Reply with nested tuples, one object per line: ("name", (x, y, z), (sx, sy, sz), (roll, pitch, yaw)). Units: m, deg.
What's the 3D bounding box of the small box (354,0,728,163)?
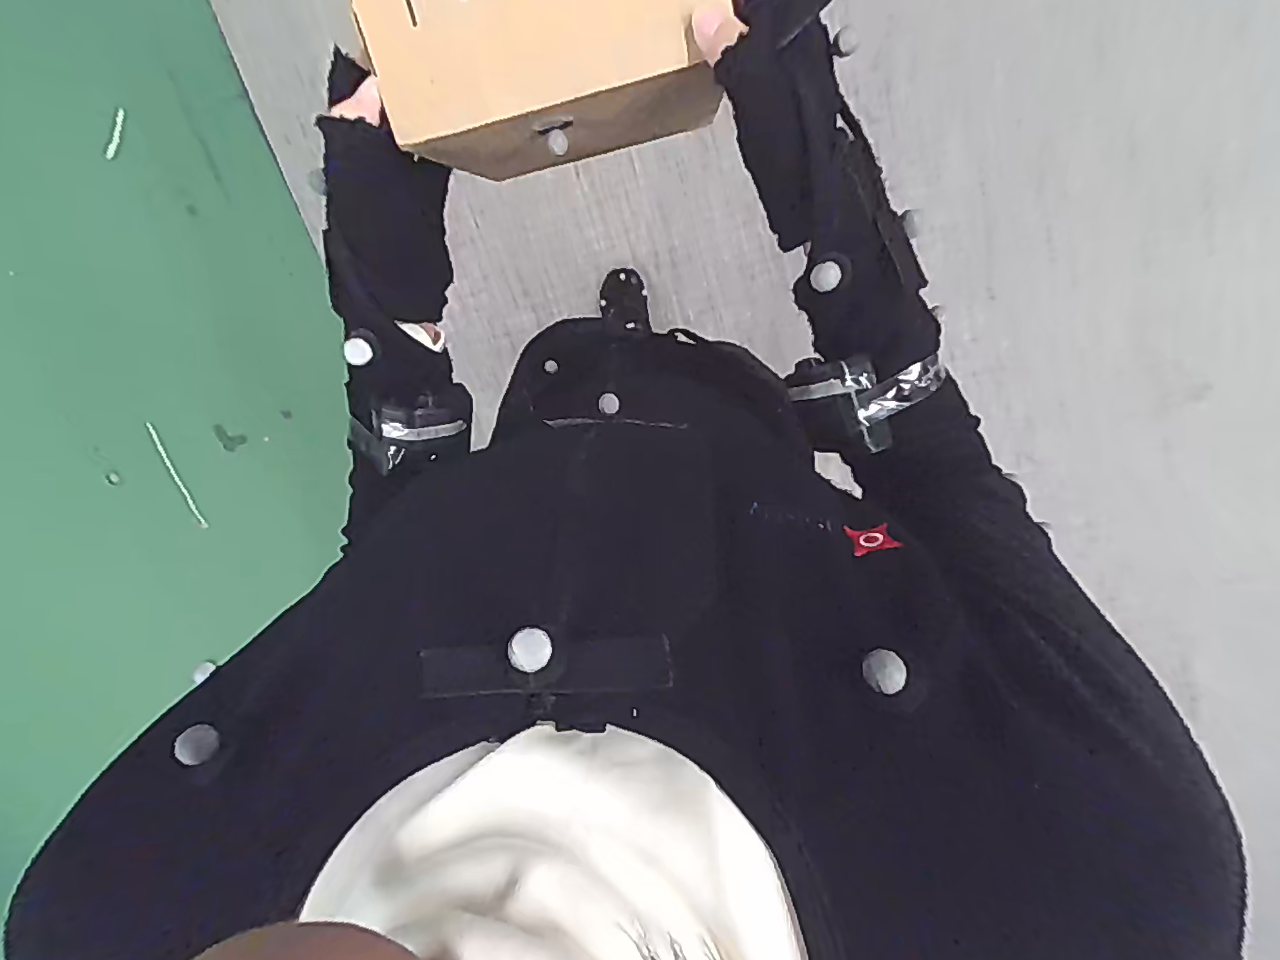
("small box", (-0.053, -0.300, 0.309), (0.179, 0.176, 0.168), (-10, 113, 8))
